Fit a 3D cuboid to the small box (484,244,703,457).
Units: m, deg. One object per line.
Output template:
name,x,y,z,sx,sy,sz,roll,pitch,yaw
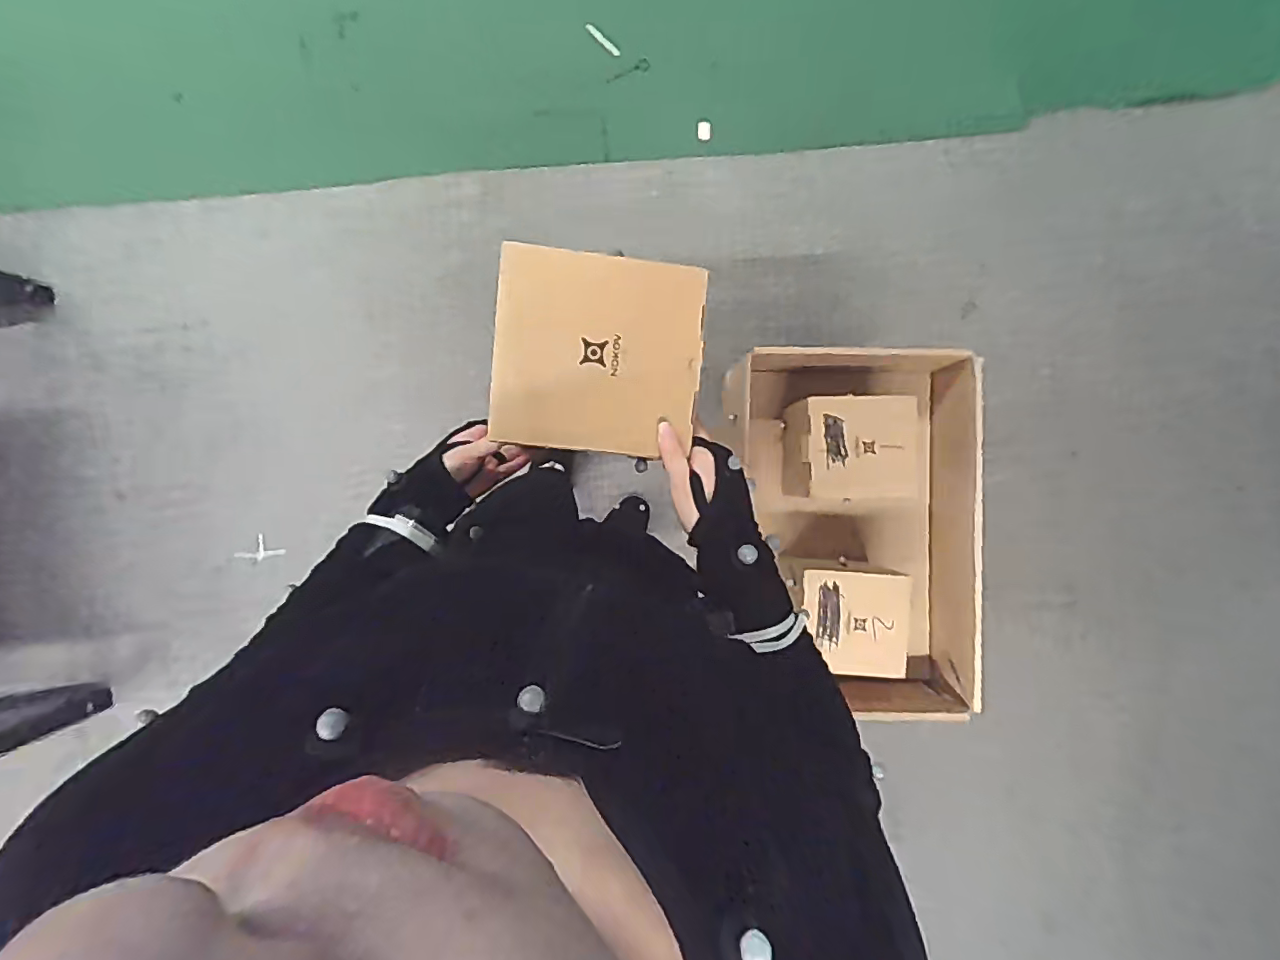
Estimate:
small box,-0.048,-0.112,0.537,0.179,0.176,0.168,4,94,-9
